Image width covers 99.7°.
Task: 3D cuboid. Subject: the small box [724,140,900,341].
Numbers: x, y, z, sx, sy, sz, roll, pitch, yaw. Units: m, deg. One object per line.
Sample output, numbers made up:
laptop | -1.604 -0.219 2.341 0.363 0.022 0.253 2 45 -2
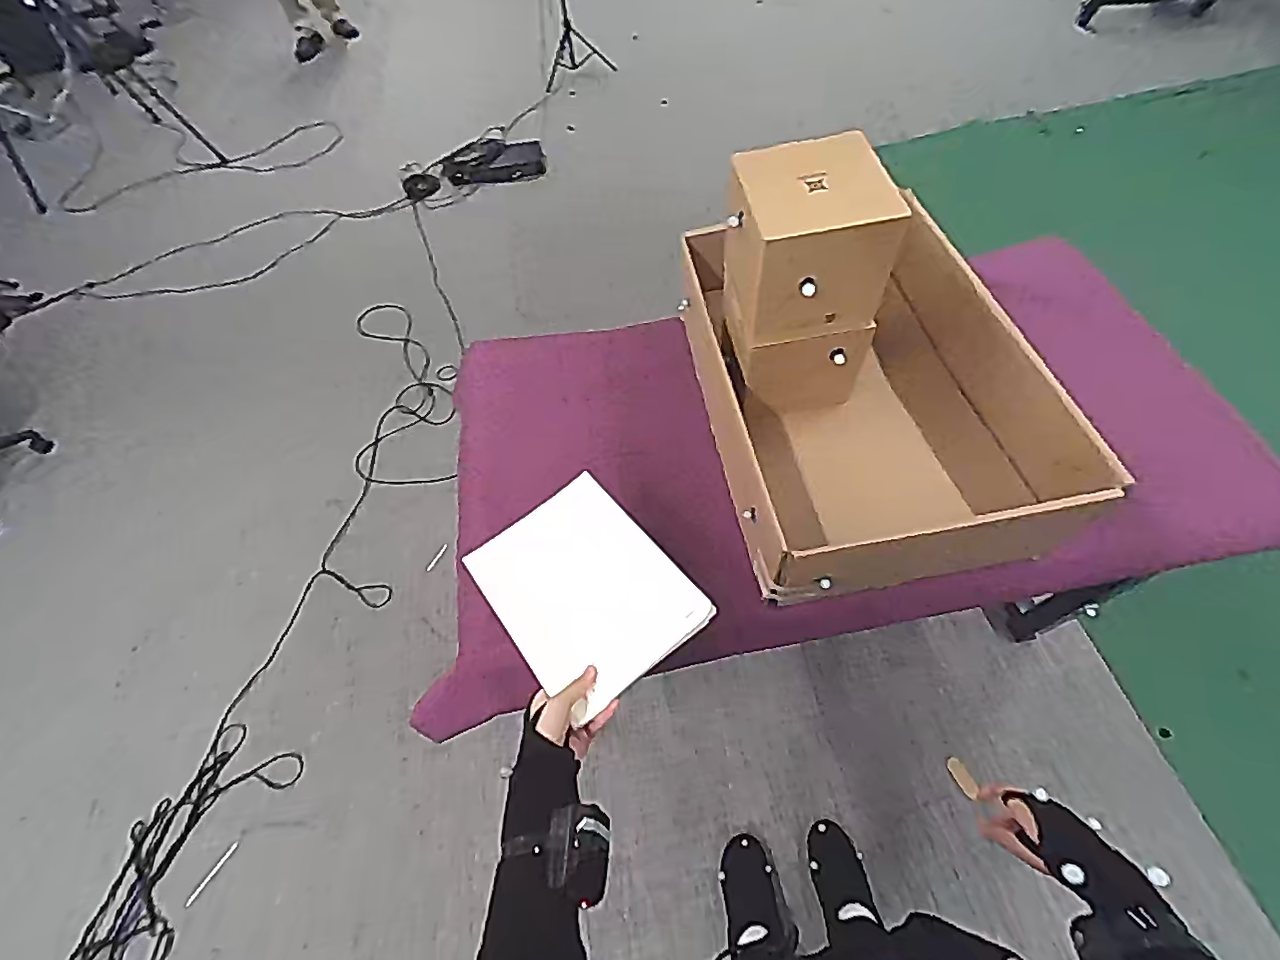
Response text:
small box | 0.207 -0.300 0.706 0.168 0.176 0.179 -10 58 1
